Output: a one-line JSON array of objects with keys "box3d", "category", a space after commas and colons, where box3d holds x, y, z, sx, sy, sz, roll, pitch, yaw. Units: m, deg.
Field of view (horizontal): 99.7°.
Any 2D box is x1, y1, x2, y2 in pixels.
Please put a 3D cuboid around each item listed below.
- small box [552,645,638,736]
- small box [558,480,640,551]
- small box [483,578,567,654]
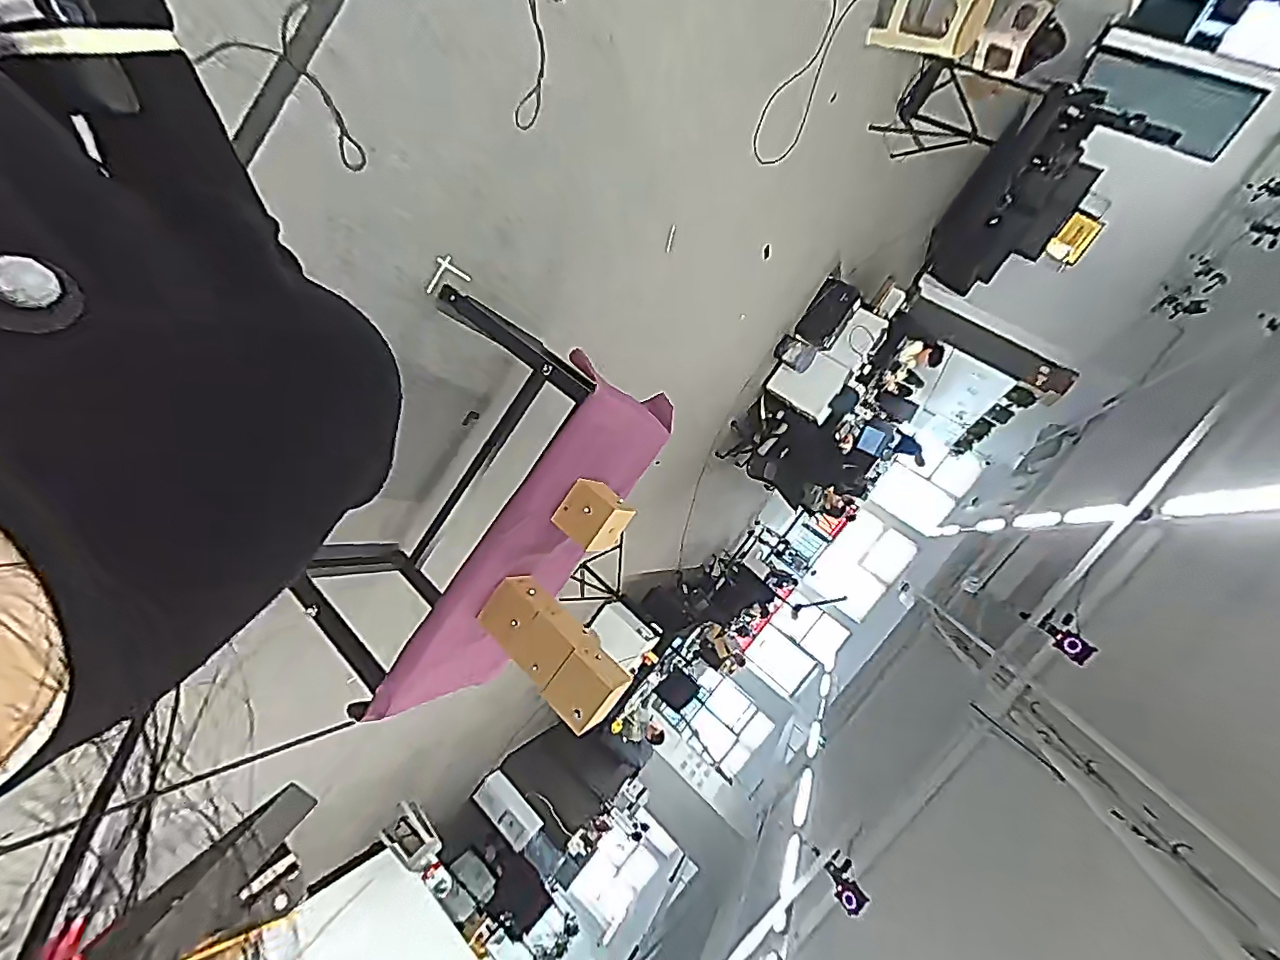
[{"box3d": [-0.144, 0.633, 1.648, 0.179, 0.176, 0.168, -55, 159, 6], "category": "small box"}, {"box3d": [-0.135, 0.114, 1.752, 0.168, 0.176, 0.179, -55, 159, 8], "category": "small box"}, {"box3d": [-0.378, 0.436, 1.770, 0.179, 0.176, 0.168, -53, 158, 6], "category": "small box"}]
